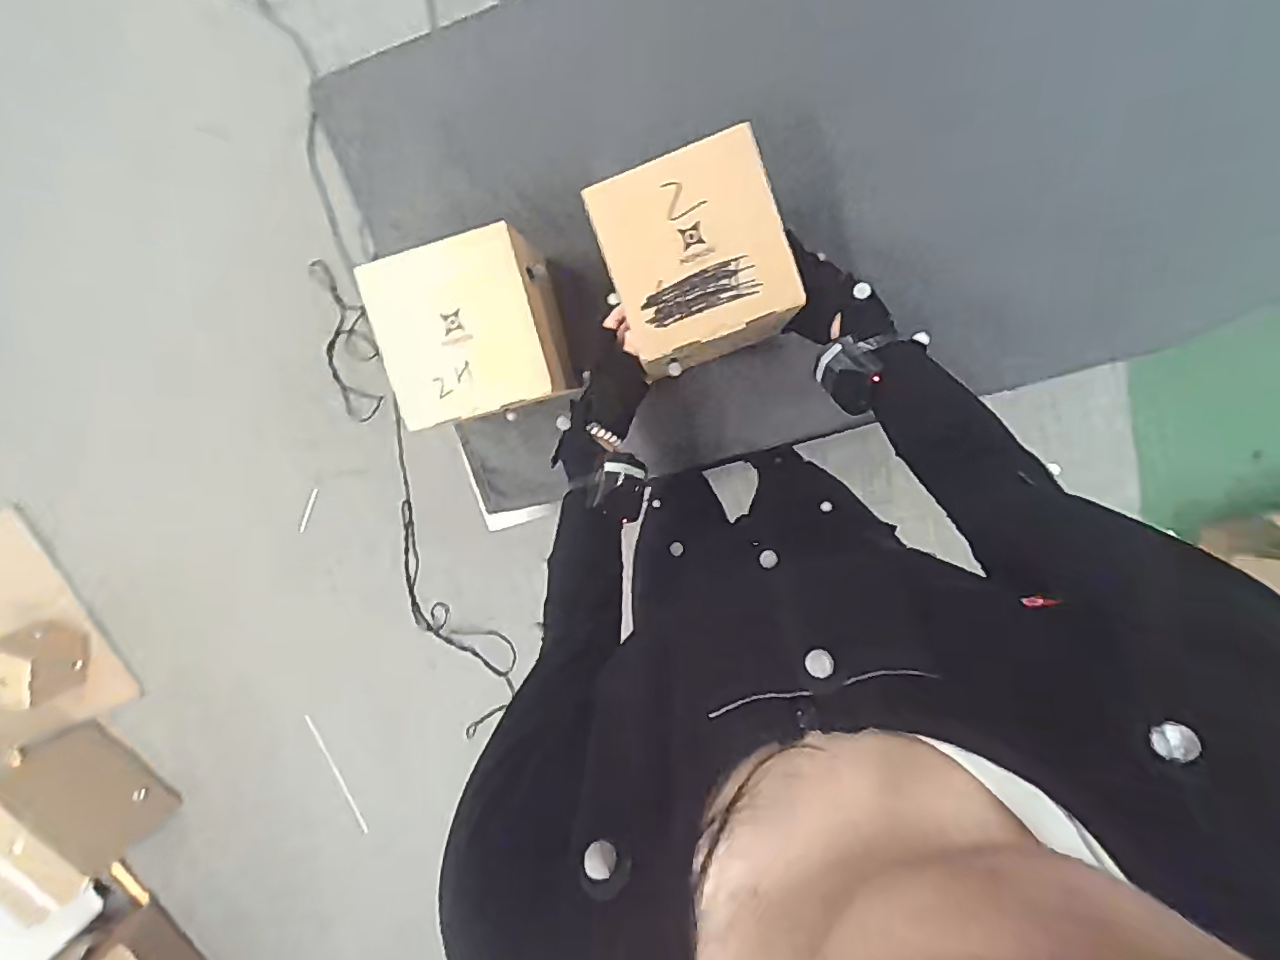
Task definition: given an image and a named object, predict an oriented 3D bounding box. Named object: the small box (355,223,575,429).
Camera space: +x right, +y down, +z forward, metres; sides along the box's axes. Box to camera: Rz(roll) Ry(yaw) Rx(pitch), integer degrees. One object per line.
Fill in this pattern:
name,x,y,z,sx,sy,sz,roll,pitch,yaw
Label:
small box,-0.185,-0.166,0.628,0.168,0.176,0.179,-14,99,6
